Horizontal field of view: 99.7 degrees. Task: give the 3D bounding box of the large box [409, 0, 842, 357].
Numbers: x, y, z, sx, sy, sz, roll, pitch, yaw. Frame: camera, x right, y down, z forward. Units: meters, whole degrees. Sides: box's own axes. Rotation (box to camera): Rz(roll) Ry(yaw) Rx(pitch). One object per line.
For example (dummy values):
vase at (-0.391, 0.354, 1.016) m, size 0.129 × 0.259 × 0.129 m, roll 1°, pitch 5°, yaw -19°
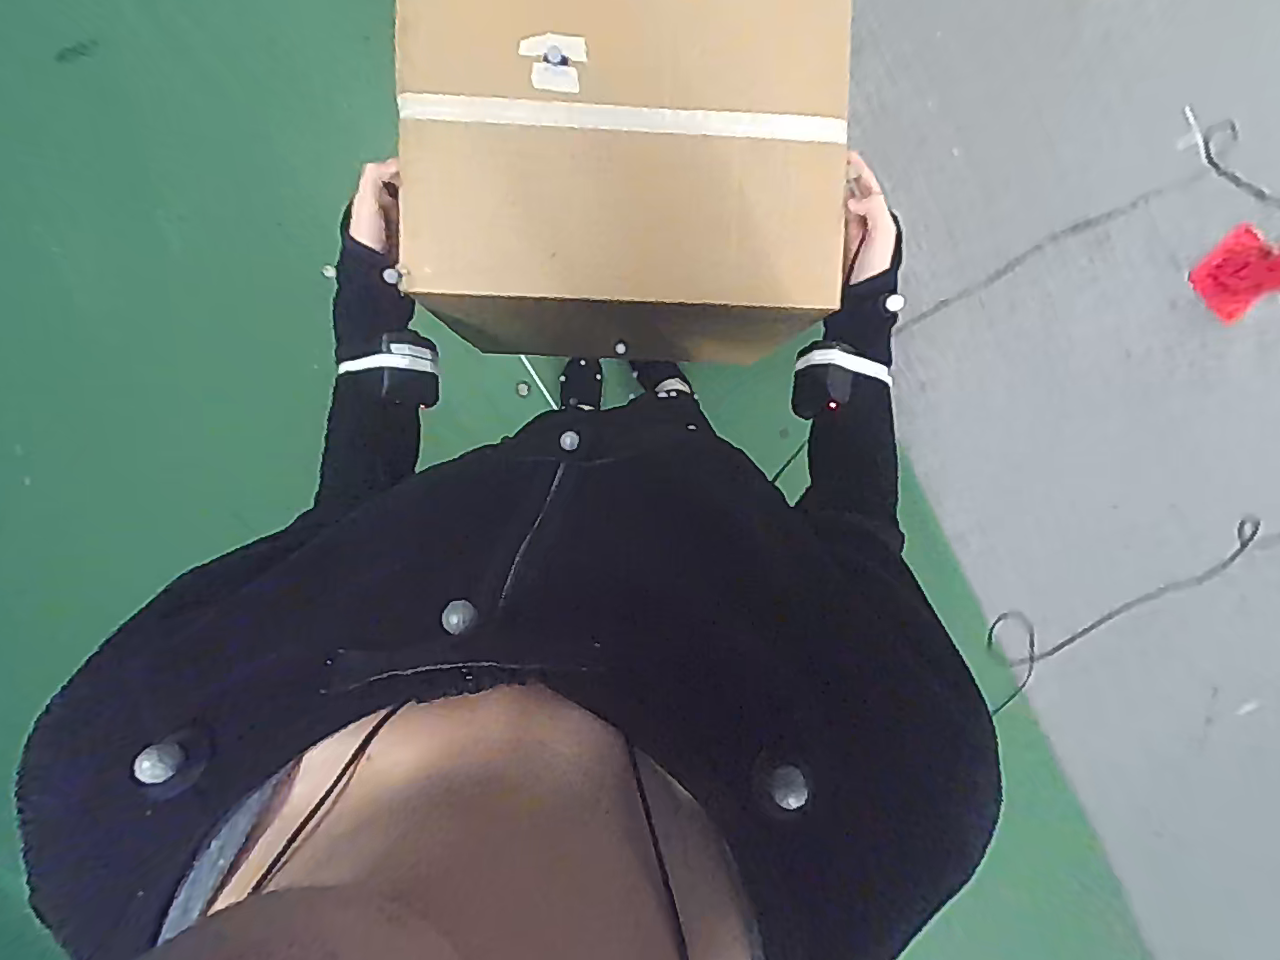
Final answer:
large box at (-0.017, -0.328, 0.650) m, size 0.408 × 0.320 × 0.320 m, roll 2°, pitch 93°, yaw -3°
